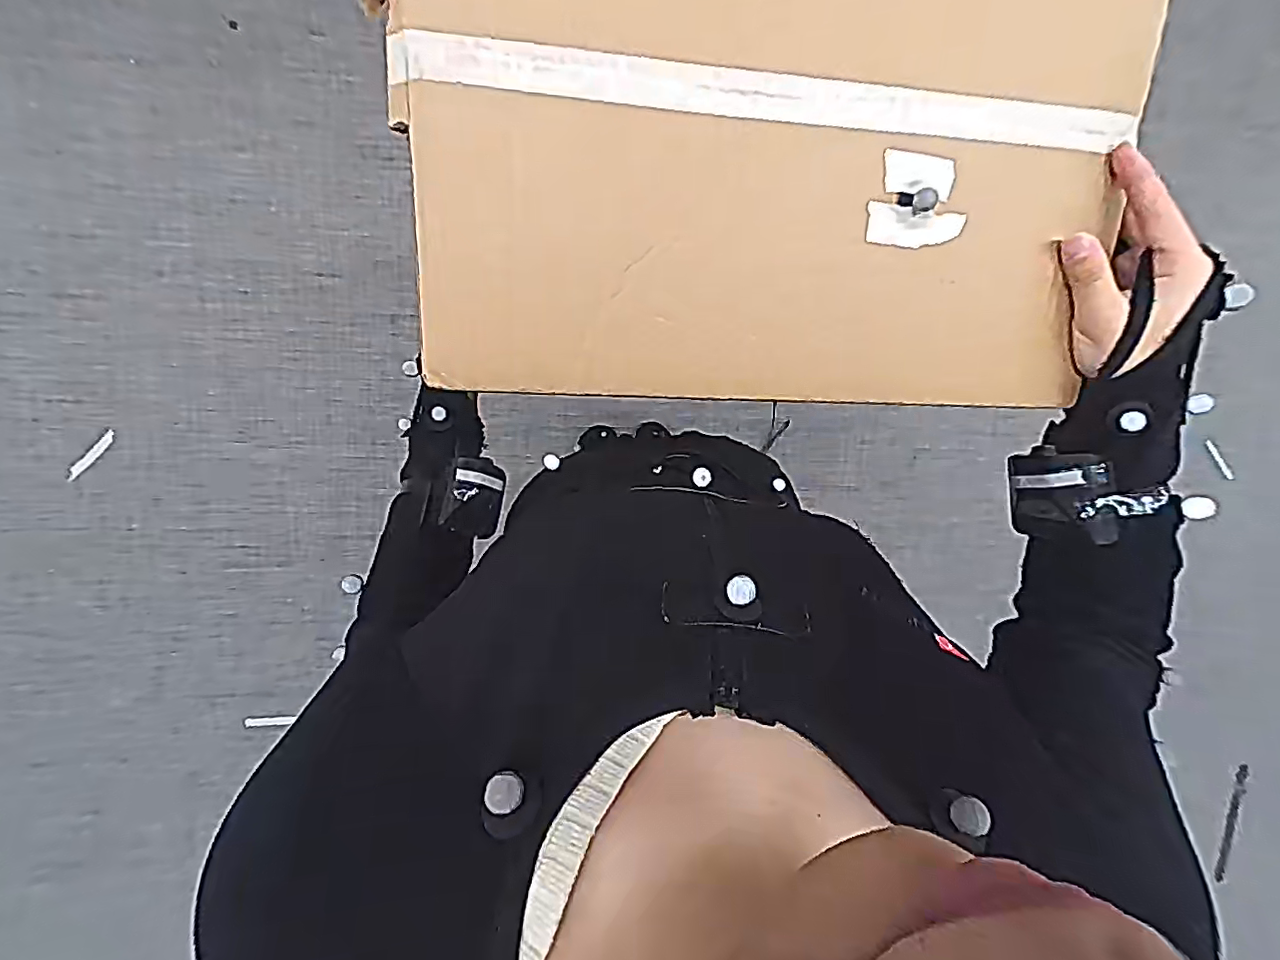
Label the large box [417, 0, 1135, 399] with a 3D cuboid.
[{"bbox_3d":[0.061,-0.235,0.442,0.408,0.320,0.320,0,104,-10],"label":"large box"}]
